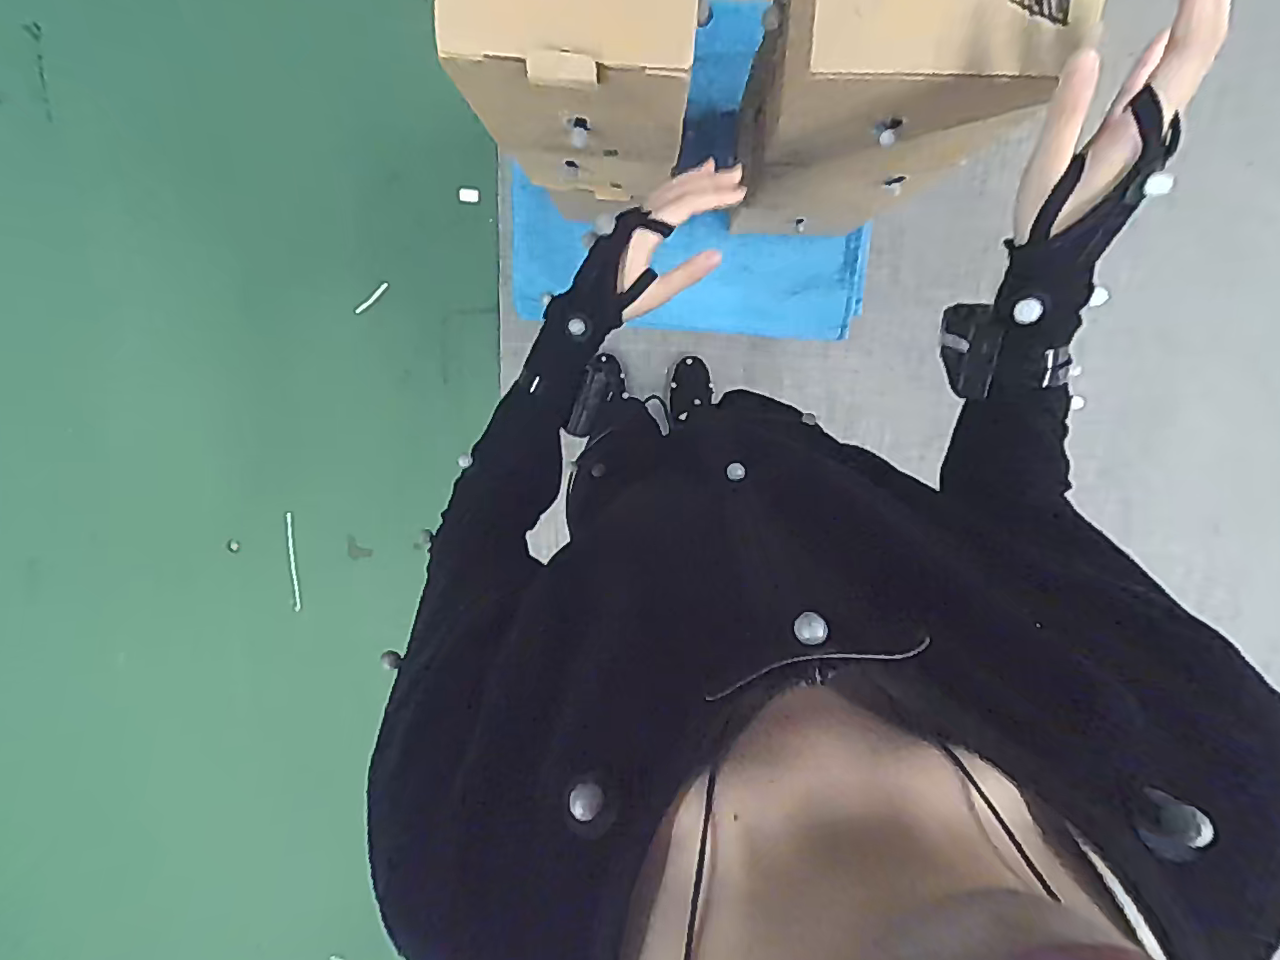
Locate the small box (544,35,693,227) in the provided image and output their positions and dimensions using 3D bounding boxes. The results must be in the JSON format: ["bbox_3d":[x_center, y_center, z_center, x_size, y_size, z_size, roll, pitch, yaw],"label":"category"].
[{"bbox_3d":[-0.026,-0.447,0.712,0.168,0.176,0.179,5,103,-1],"label":"small box"}]

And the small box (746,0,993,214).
[{"bbox_3d":[0.213,-0.381,0.548,0.179,0.176,0.168,2,103,2],"label":"small box"}]

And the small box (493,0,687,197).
[{"bbox_3d":[-0.042,-0.411,0.554,0.168,0.176,0.179,6,102,0],"label":"small box"}]
